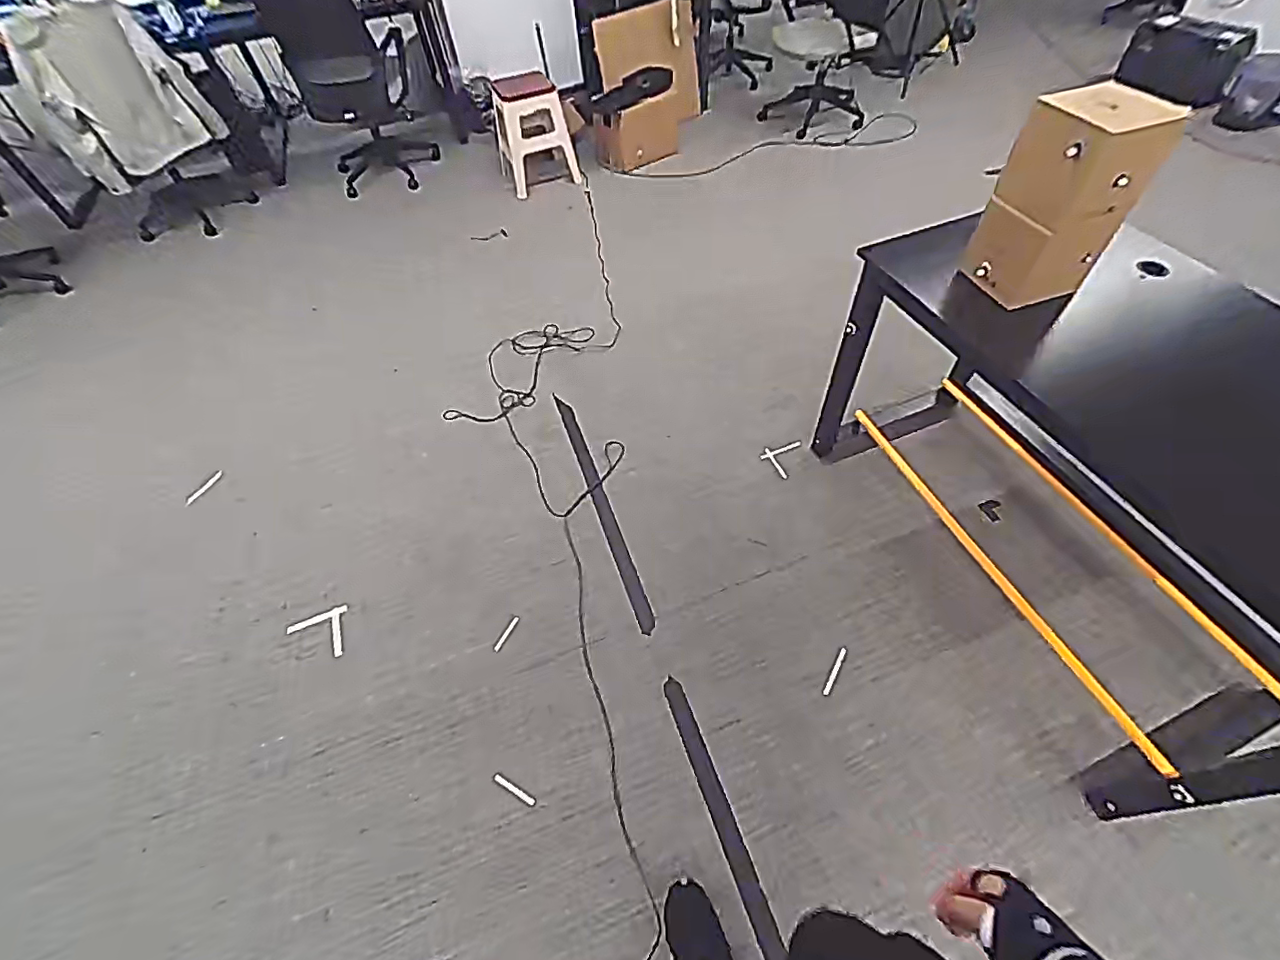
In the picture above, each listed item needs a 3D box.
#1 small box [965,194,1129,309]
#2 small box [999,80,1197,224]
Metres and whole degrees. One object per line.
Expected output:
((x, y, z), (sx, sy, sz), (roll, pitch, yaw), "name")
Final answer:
((0.817, -0.482, 1.109), (0.179, 0.176, 0.168), (-18, 53, -7), "small box")
((0.810, -0.586, 0.980), (0.168, 0.176, 0.179), (-17, 53, -8), "small box")
